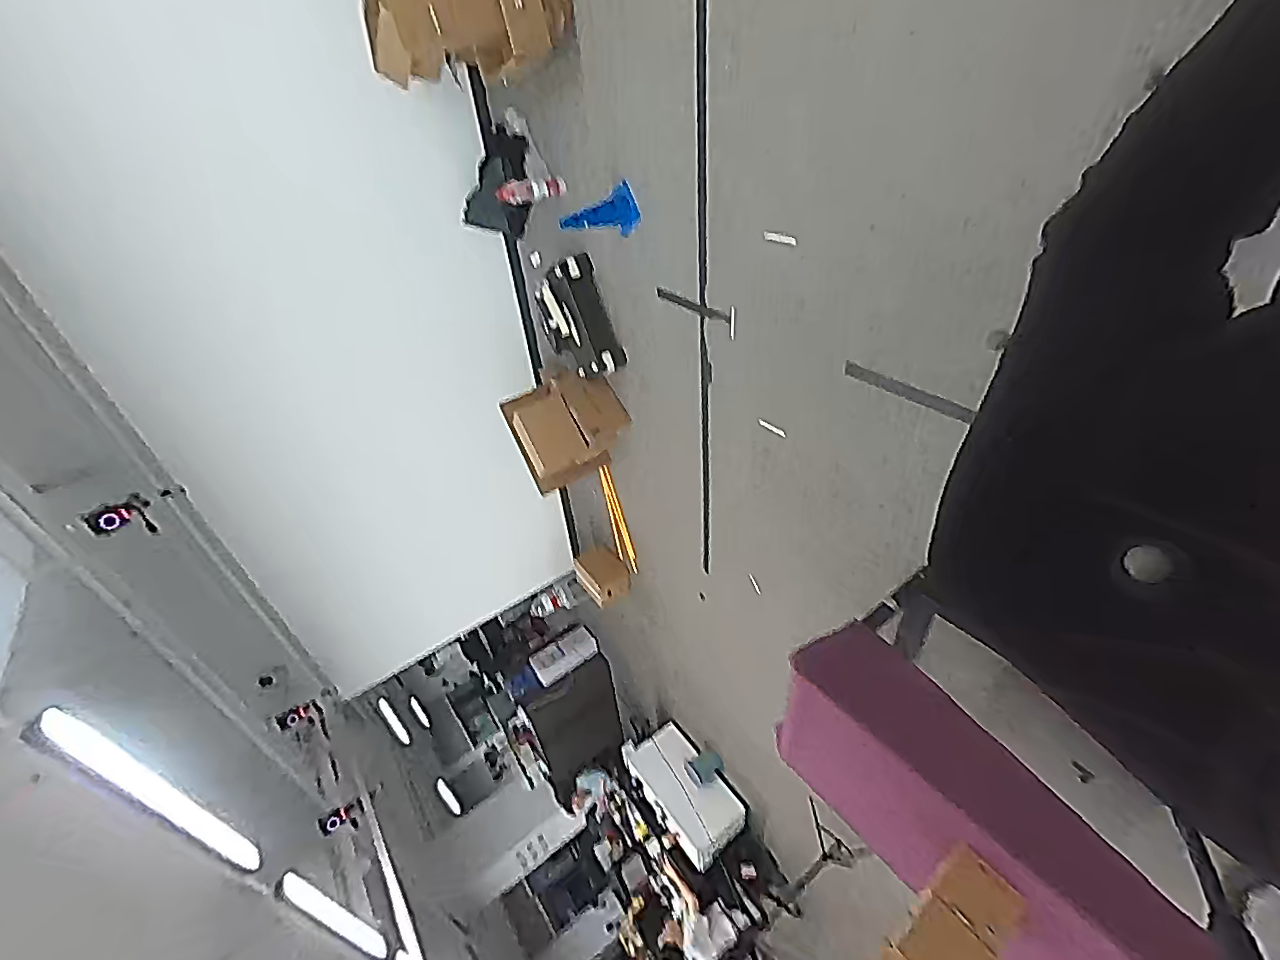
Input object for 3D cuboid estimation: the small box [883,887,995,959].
[{"bbox_3d":[0.720,1.152,1.318,0.179,0.176,0.168,39,146,39],"label":"small box"}]
